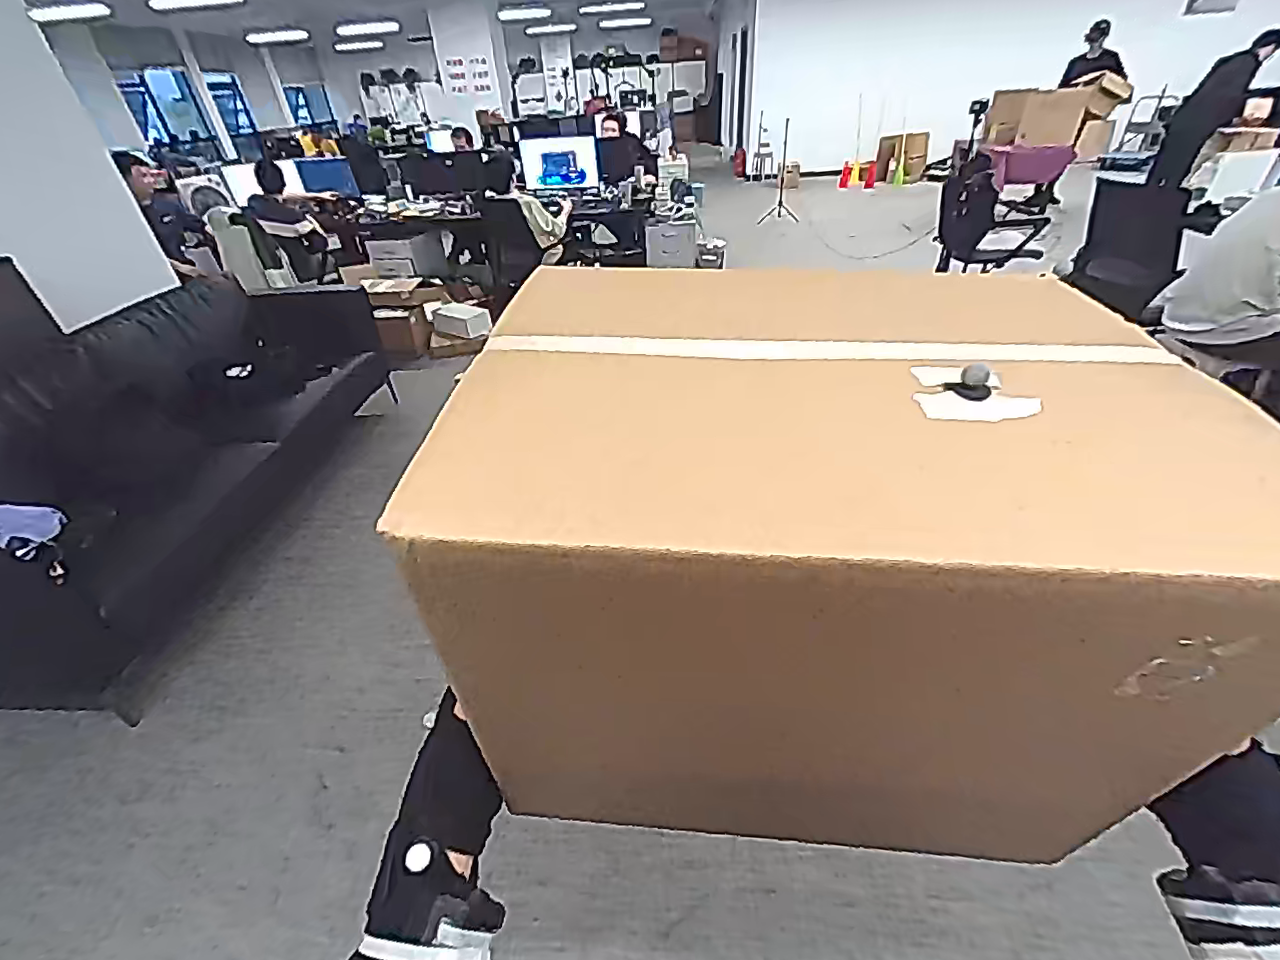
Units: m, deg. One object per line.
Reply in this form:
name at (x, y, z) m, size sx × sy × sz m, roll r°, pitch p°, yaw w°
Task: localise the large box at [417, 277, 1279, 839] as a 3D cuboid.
large box at (0.109, 0.048, 0.428) m, size 0.408 × 0.320 × 0.320 m, roll 3°, pitch 41°, yaw 4°
